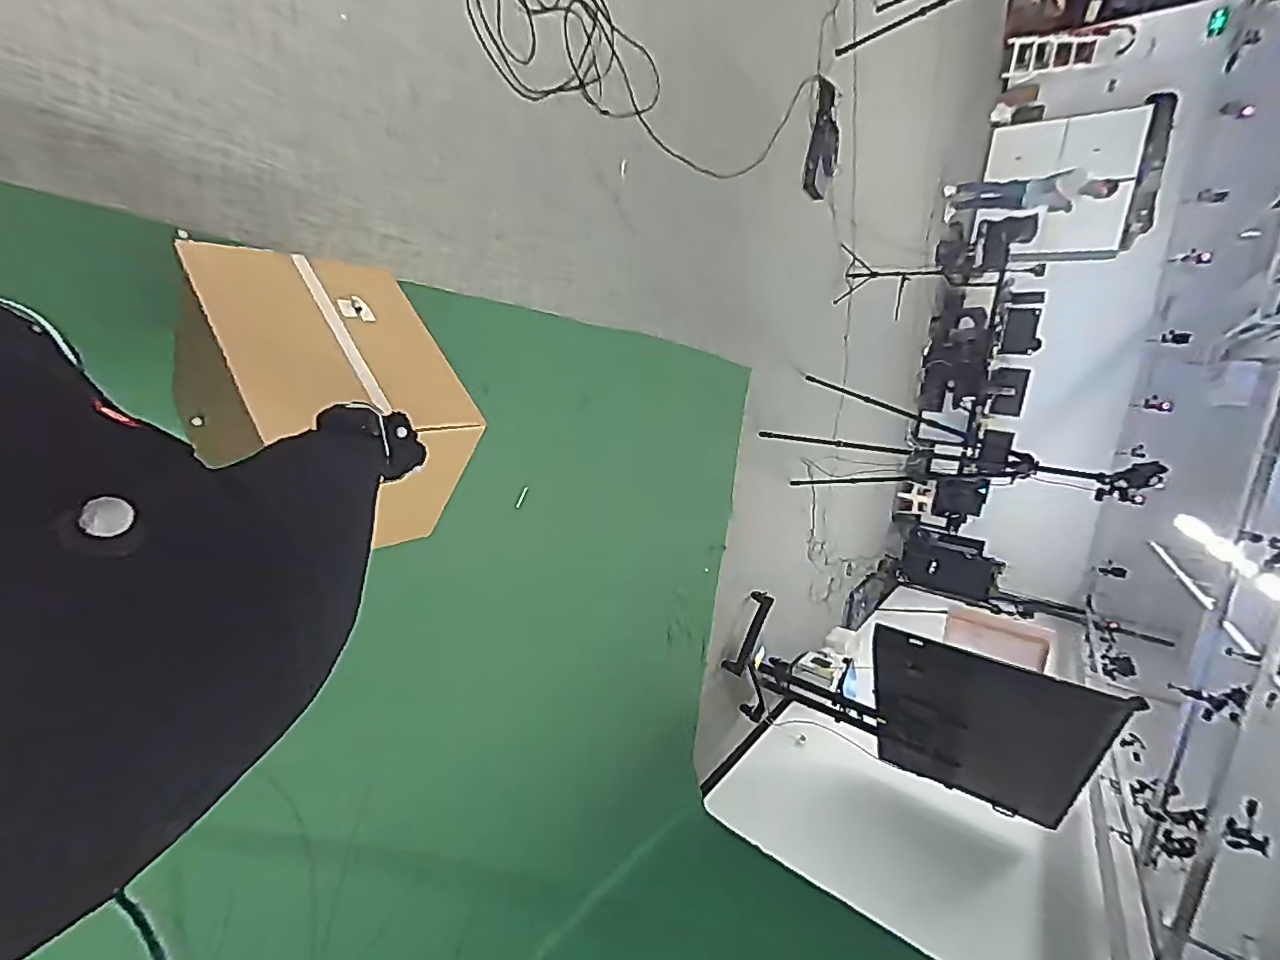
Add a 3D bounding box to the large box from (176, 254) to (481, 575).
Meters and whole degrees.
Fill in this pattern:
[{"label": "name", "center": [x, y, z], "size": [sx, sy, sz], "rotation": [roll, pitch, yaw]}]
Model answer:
[{"label": "large box", "center": [-0.544, -0.114, 0.927], "size": [0.320, 0.408, 0.320], "rotation": [-13, 148, -49]}]
